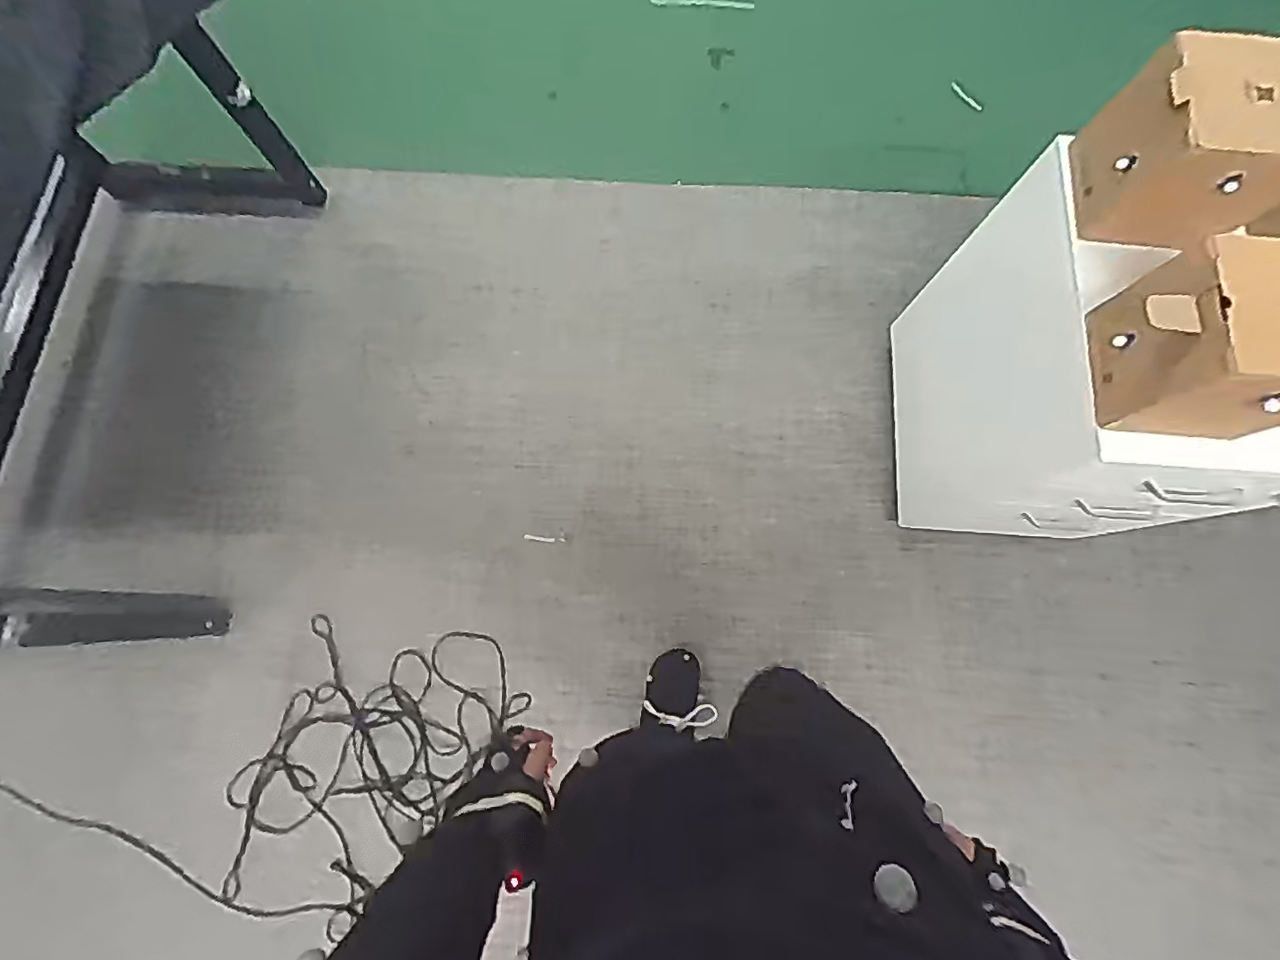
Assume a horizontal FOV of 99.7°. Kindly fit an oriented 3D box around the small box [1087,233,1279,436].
[{"bbox_3d":[0.680,-0.156,0.631,0.179,0.176,0.168,5,76,1],"label":"small box"}]

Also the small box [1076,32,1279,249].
[{"bbox_3d":[0.706,-0.423,0.697,0.179,0.176,0.168,5,78,0],"label":"small box"}]
